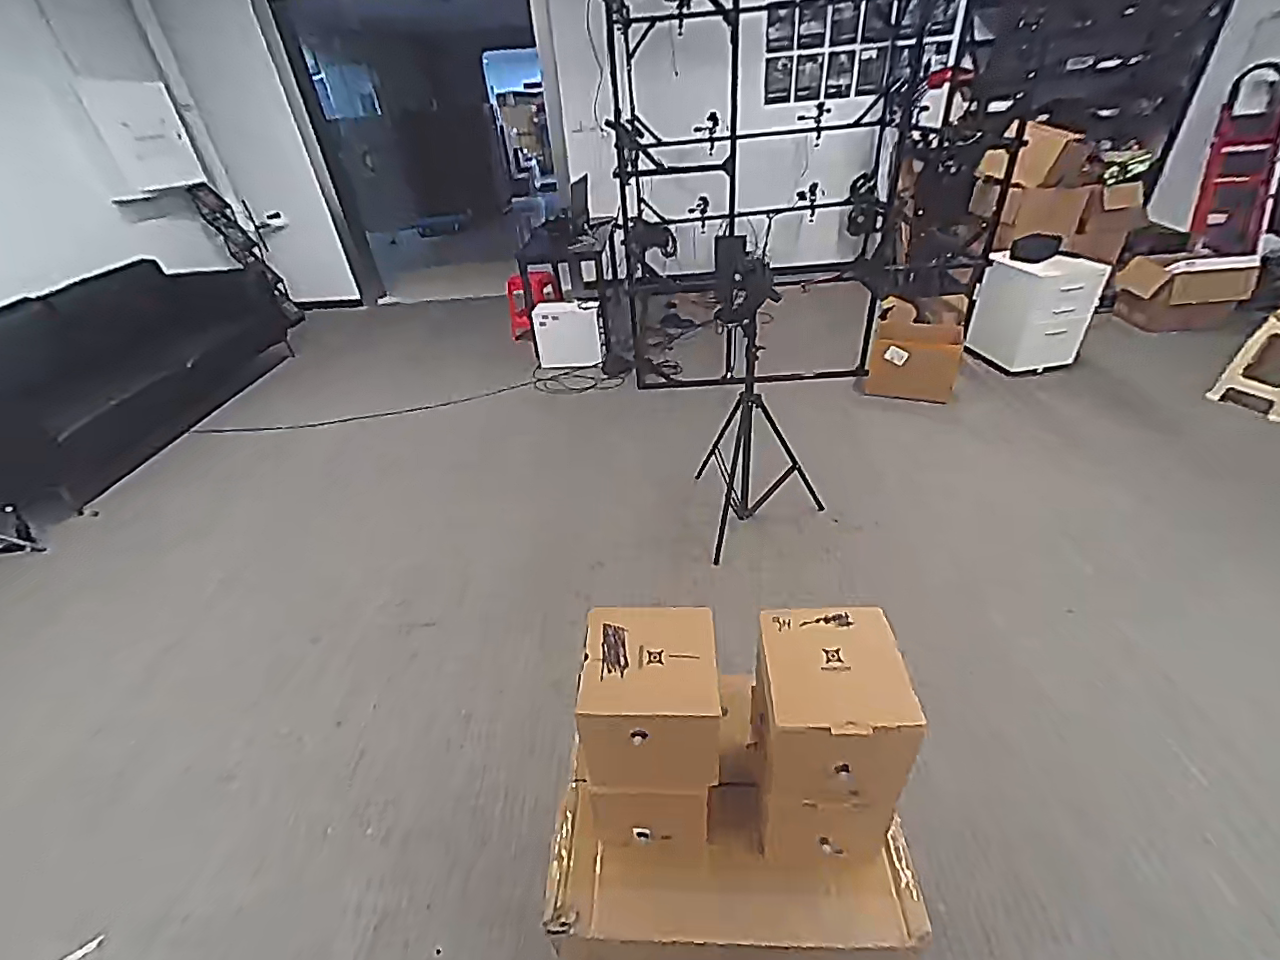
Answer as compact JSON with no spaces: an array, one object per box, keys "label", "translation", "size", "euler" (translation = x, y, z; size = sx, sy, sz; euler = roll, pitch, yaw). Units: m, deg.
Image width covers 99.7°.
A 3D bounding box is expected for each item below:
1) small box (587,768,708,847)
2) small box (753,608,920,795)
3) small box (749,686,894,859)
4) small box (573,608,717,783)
[{"label":"small box","translation":[0.017,0.434,0.838],"size":[0.168,0.176,0.179],"euler":[-3,36,4]},{"label":"small box","translation":[0.243,0.292,0.716],"size":[0.168,0.176,0.179],"euler":[-1,36,5]},{"label":"small box","translation":[0.255,0.430,0.807],"size":[0.168,0.176,0.179],"euler":[-4,35,5]},{"label":"small box","translation":[0.015,0.297,0.748],"size":[0.179,0.176,0.168],"euler":[-1,35,4]}]
